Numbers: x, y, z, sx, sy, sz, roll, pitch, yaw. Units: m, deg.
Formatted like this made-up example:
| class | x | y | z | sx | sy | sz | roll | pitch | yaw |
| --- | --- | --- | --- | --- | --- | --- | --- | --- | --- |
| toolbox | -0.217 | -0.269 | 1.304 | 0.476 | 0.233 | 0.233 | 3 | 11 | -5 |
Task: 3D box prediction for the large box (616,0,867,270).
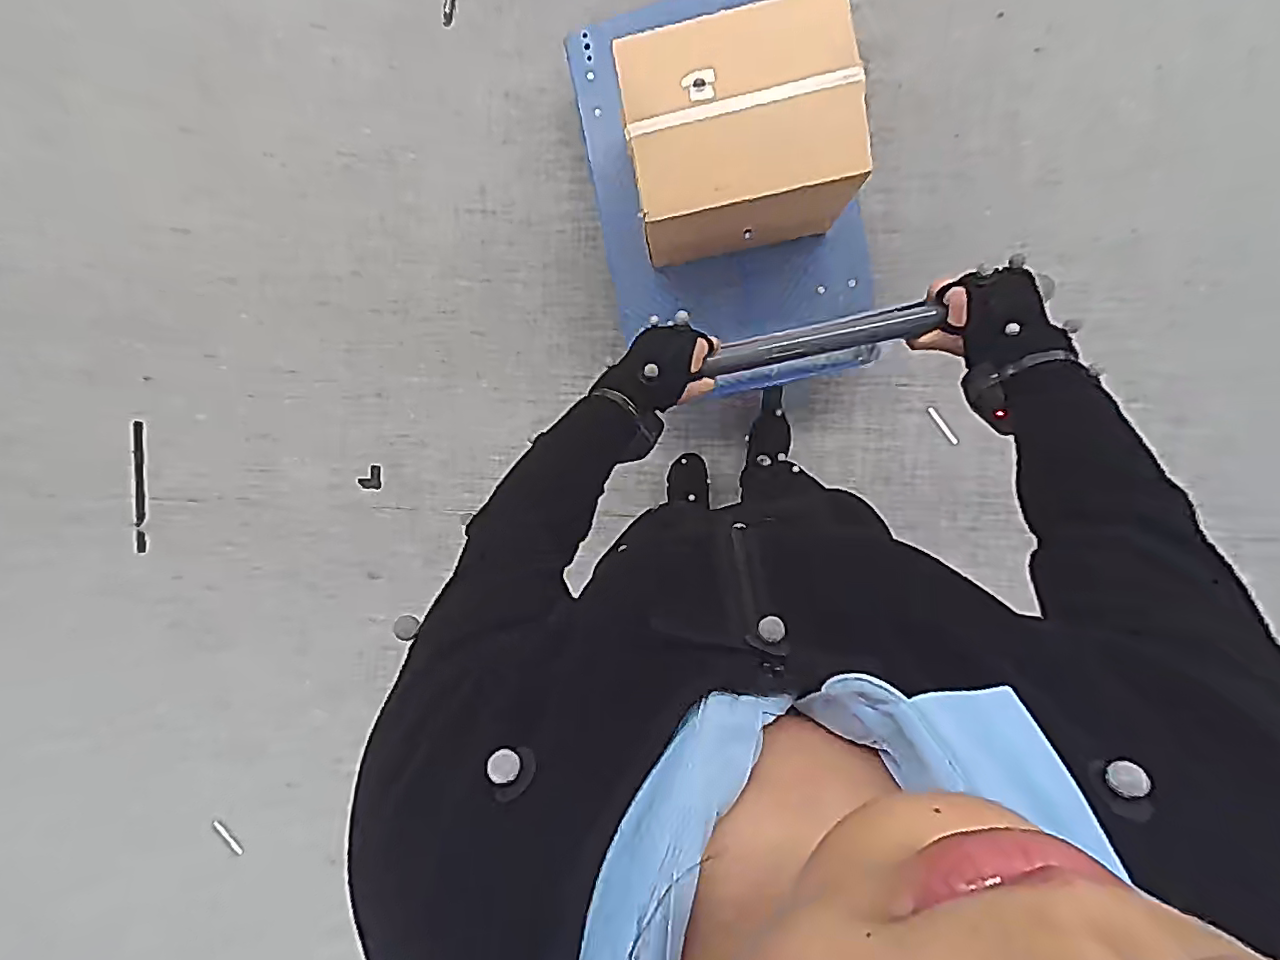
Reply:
| class | x | y | z | sx | sy | sz | roll | pitch | yaw |
| --- | --- | --- | --- | --- | --- | --- | --- | --- | --- |
| large box | 0.193 | -0.664 | 1.105 | 0.408 | 0.320 | 0.320 | -10 | 94 | 7 |
